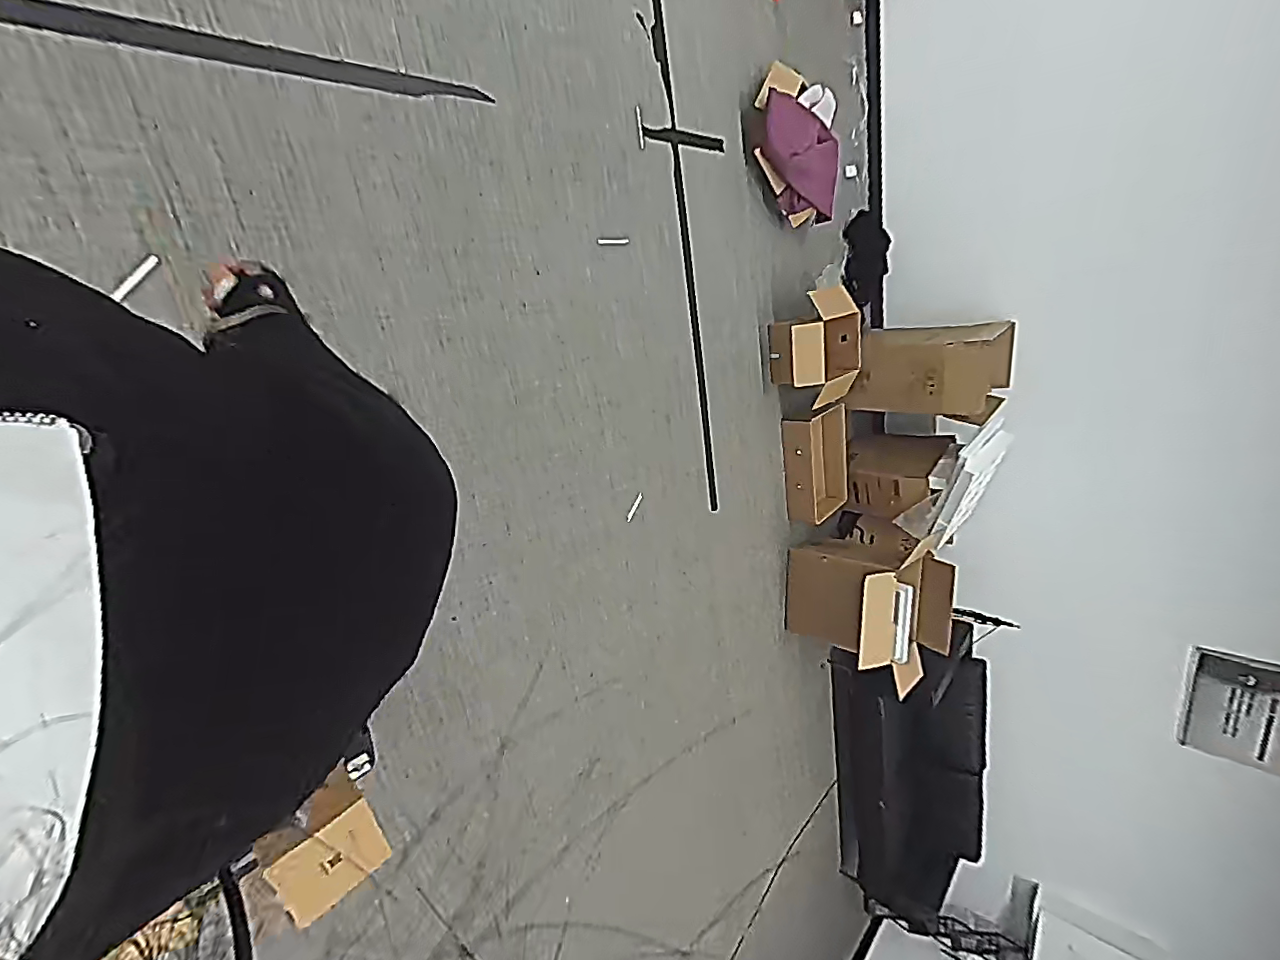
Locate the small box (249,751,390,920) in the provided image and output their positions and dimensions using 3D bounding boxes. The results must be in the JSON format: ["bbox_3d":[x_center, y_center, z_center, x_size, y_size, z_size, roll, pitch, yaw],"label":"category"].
[{"bbox_3d":[-0.628,0.679,1.053,0.179,0.176,0.168,-30,118,-39],"label":"small box"}]

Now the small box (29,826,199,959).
[{"bbox_3d":[-0.941,0.763,0.976,0.168,0.176,0.179,-29,116,-41],"label":"small box"}]
